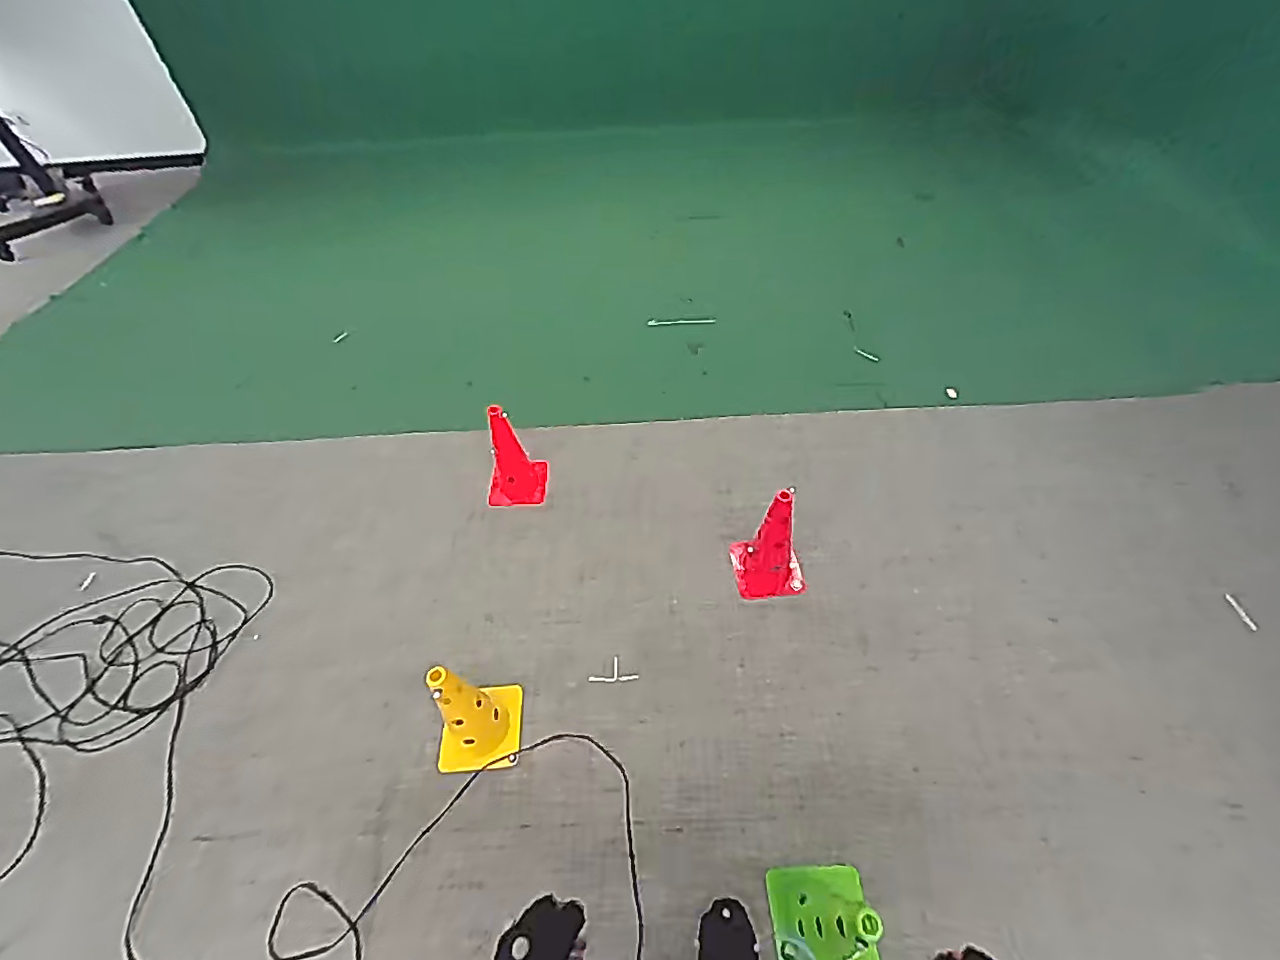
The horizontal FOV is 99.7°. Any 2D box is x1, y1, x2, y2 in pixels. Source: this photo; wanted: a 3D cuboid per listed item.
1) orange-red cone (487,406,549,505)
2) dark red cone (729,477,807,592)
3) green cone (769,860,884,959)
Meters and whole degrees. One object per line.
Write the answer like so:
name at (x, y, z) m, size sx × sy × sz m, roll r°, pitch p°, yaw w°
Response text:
orange-red cone at (-0.439, -0.100, 1.792) m, size 0.198 × 0.360 × 0.199 m, roll -3°, pitch 51°, yaw 2°
dark red cone at (0.375, 0.134, 1.509) m, size 0.202 × 0.394 × 0.201 m, roll -7°, pitch 48°, yaw -2°
green cone at (0.368, 0.797, 0.981) m, size 0.202 × 0.368 × 0.200 m, roll -5°, pitch 49°, yaw 1°
